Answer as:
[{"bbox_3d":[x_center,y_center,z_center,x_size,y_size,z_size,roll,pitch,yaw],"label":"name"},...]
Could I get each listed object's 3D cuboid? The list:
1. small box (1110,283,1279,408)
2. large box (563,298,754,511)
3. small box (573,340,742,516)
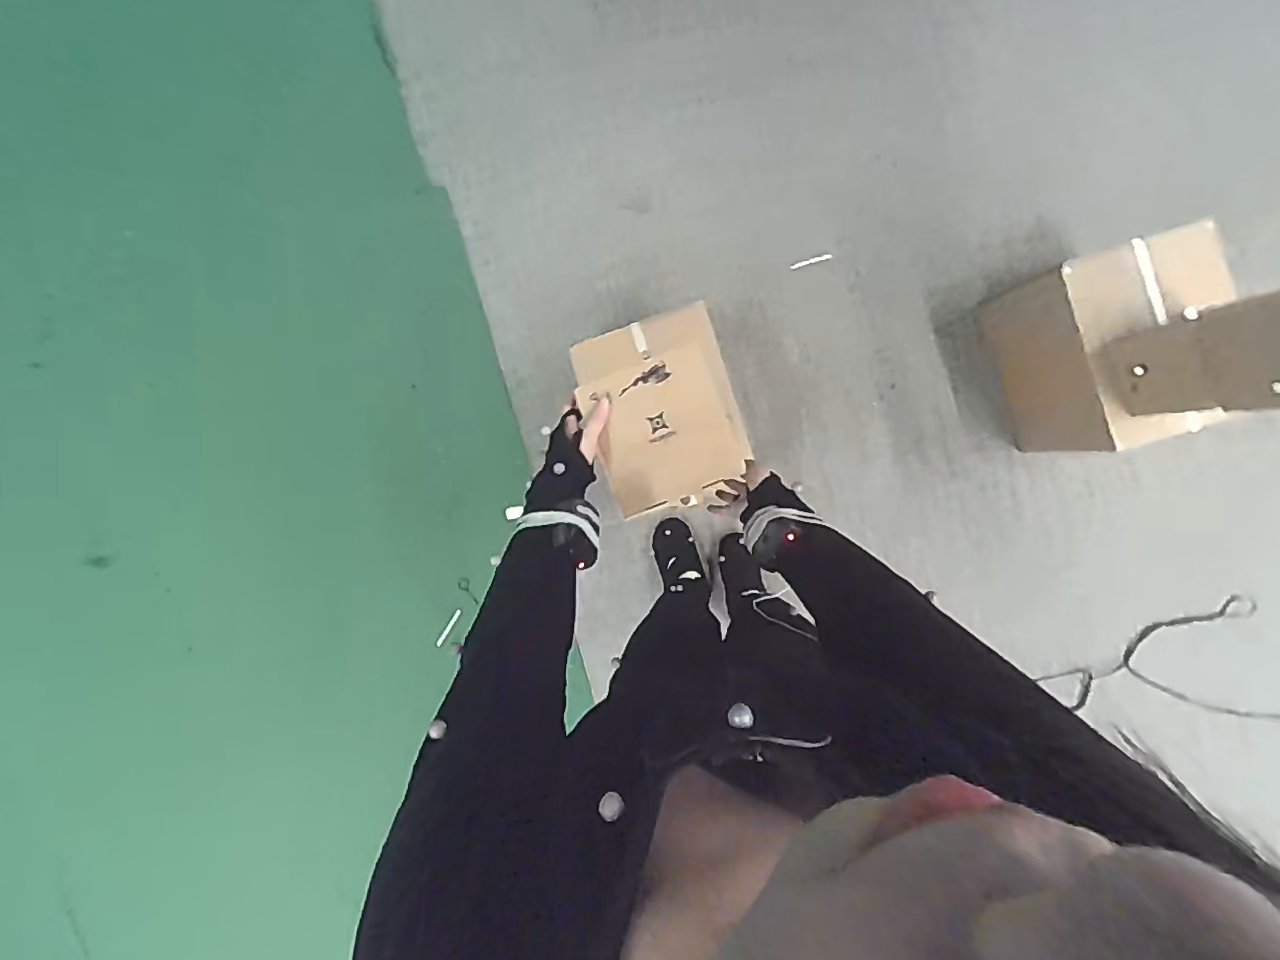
[{"bbox_3d":[1.054,-0.243,1.017,0.179,0.176,0.168,-20,92,5],"label":"small box"},{"bbox_3d":[0.050,-0.159,1.310,0.320,0.320,0.408,-18,91,3],"label":"large box"},{"bbox_3d":[0.027,-0.068,0.742,0.168,0.176,0.179,-21,91,3],"label":"small box"}]
